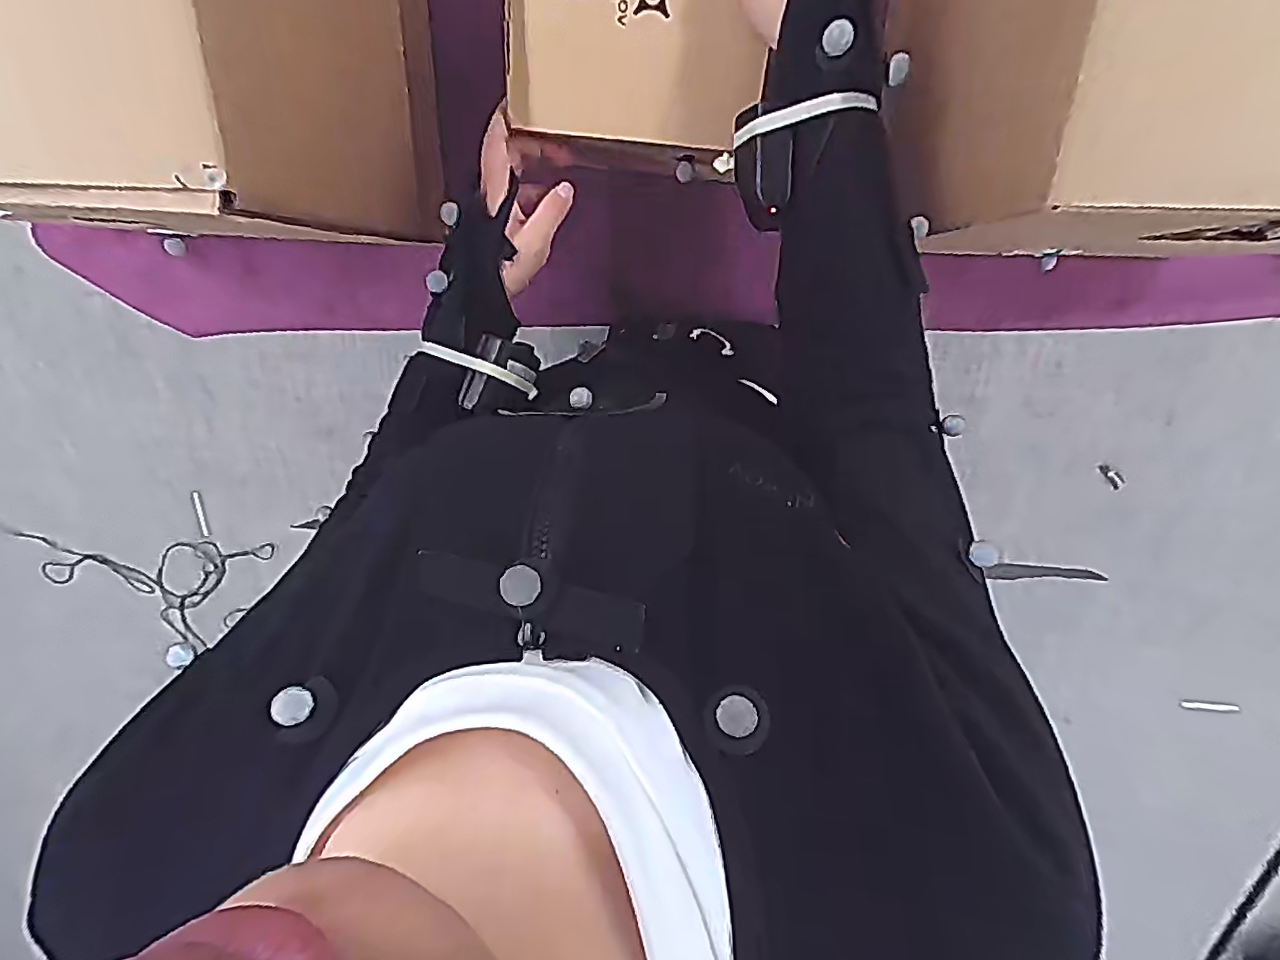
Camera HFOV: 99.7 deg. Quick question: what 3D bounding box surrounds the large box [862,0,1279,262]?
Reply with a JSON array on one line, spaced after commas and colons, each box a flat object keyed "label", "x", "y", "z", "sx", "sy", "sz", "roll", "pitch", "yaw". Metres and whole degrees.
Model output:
[{"label": "large box", "x": 0.353, "y": -0.351, "z": 0.315, "sx": 0.320, "sy": 0.320, "sz": 0.408, "roll": 2, "pitch": 109, "yaw": 2}]
